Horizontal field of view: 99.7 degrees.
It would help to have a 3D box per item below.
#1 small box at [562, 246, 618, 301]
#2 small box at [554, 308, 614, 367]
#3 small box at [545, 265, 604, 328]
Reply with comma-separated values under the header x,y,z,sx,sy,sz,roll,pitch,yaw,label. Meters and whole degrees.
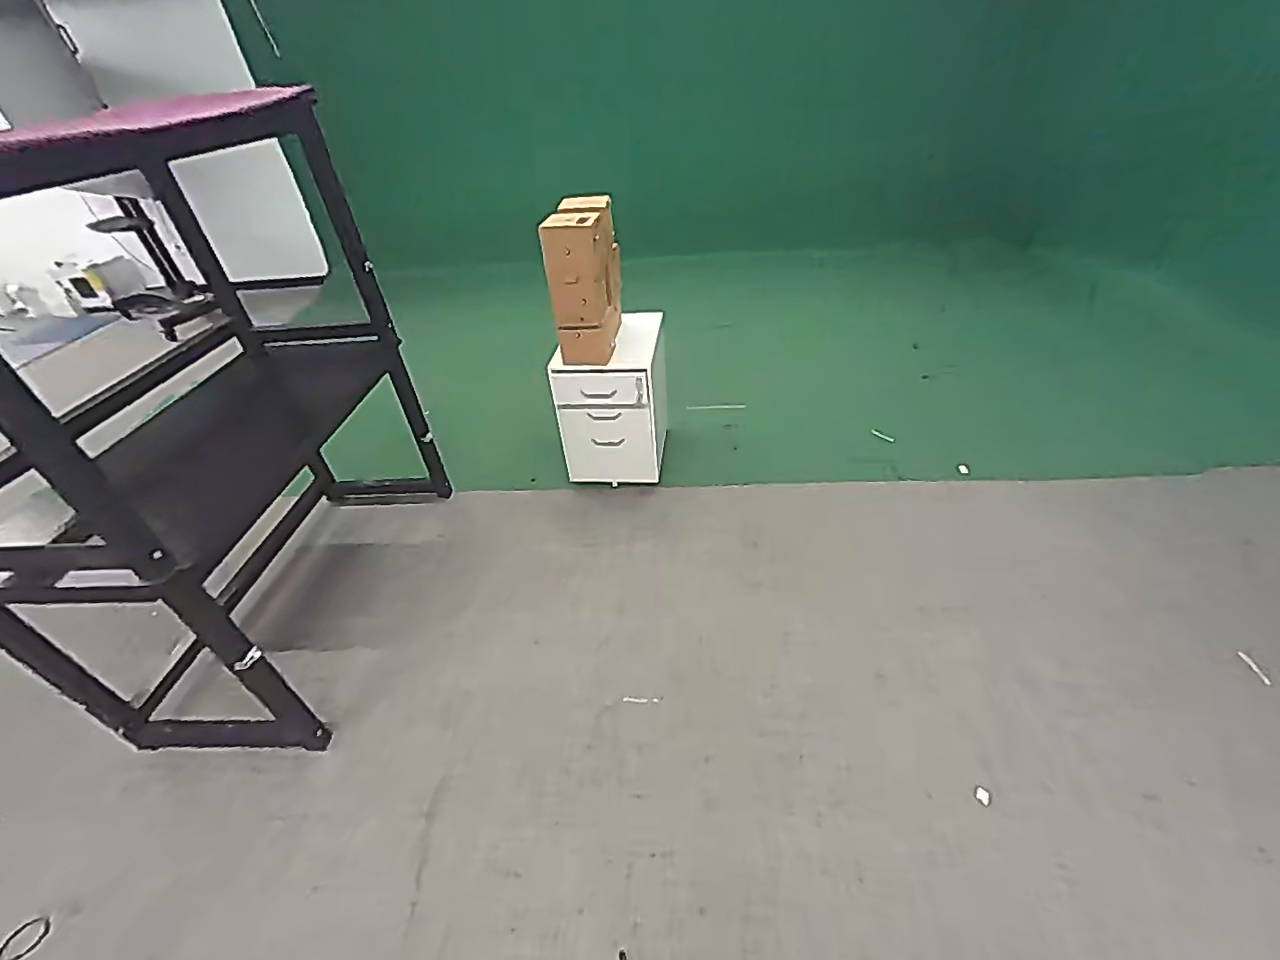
x,y,z,sx,sy,sz,roll,pitch,yaw,label
-0.190,-0.805,2.113,0.179,0.176,0.168,4,39,10,small box
-0.204,-0.534,2.030,0.179,0.176,0.168,3,38,10,small box
-0.224,-0.650,1.918,0.168,0.176,0.179,2,38,7,small box
